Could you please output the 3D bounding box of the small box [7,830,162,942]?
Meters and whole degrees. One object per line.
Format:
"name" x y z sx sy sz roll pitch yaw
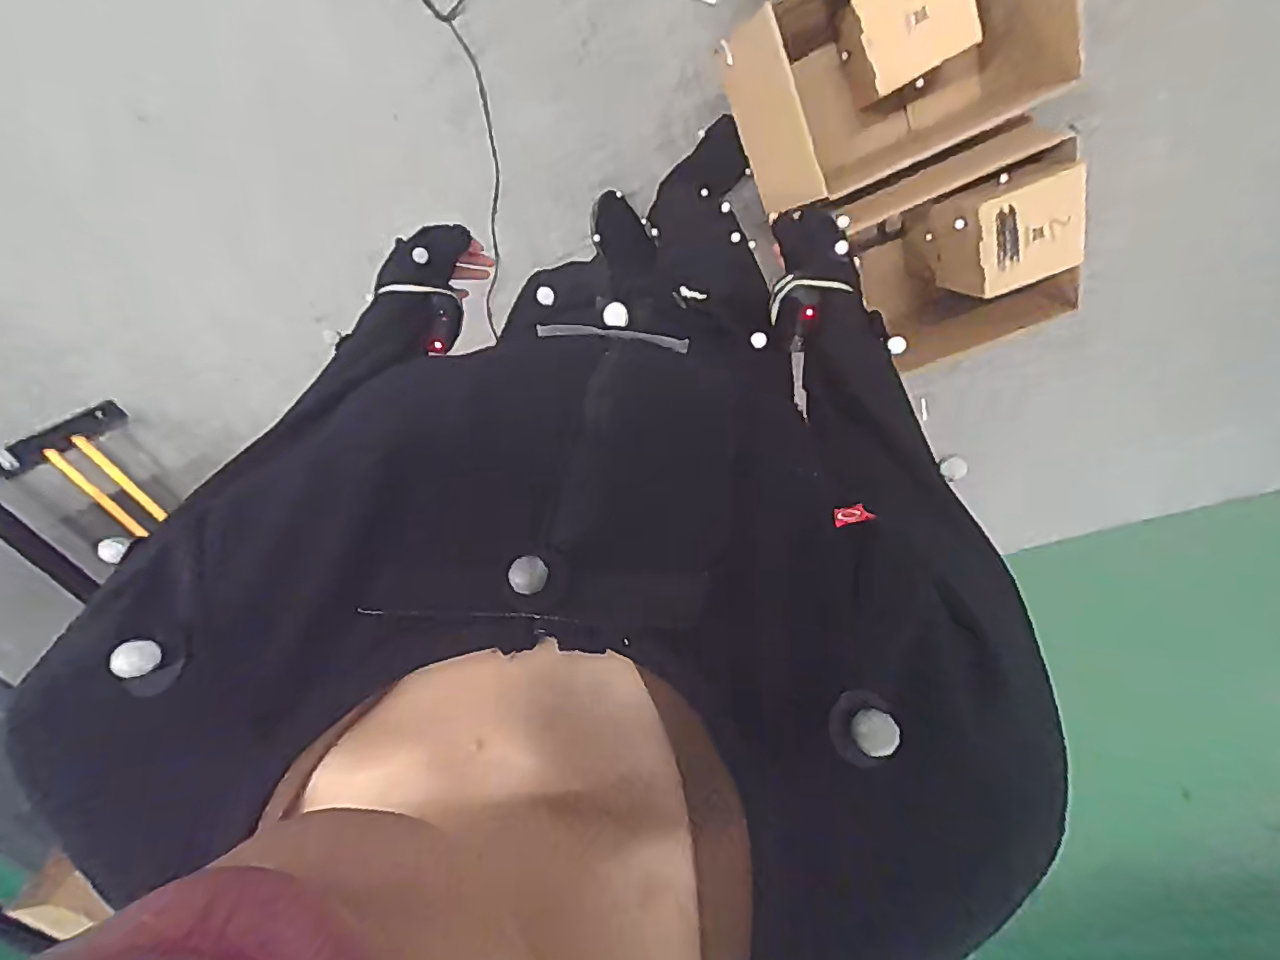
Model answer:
"small box" -1.370 1.009 1.349 0.179 0.176 0.168 -19 119 14
